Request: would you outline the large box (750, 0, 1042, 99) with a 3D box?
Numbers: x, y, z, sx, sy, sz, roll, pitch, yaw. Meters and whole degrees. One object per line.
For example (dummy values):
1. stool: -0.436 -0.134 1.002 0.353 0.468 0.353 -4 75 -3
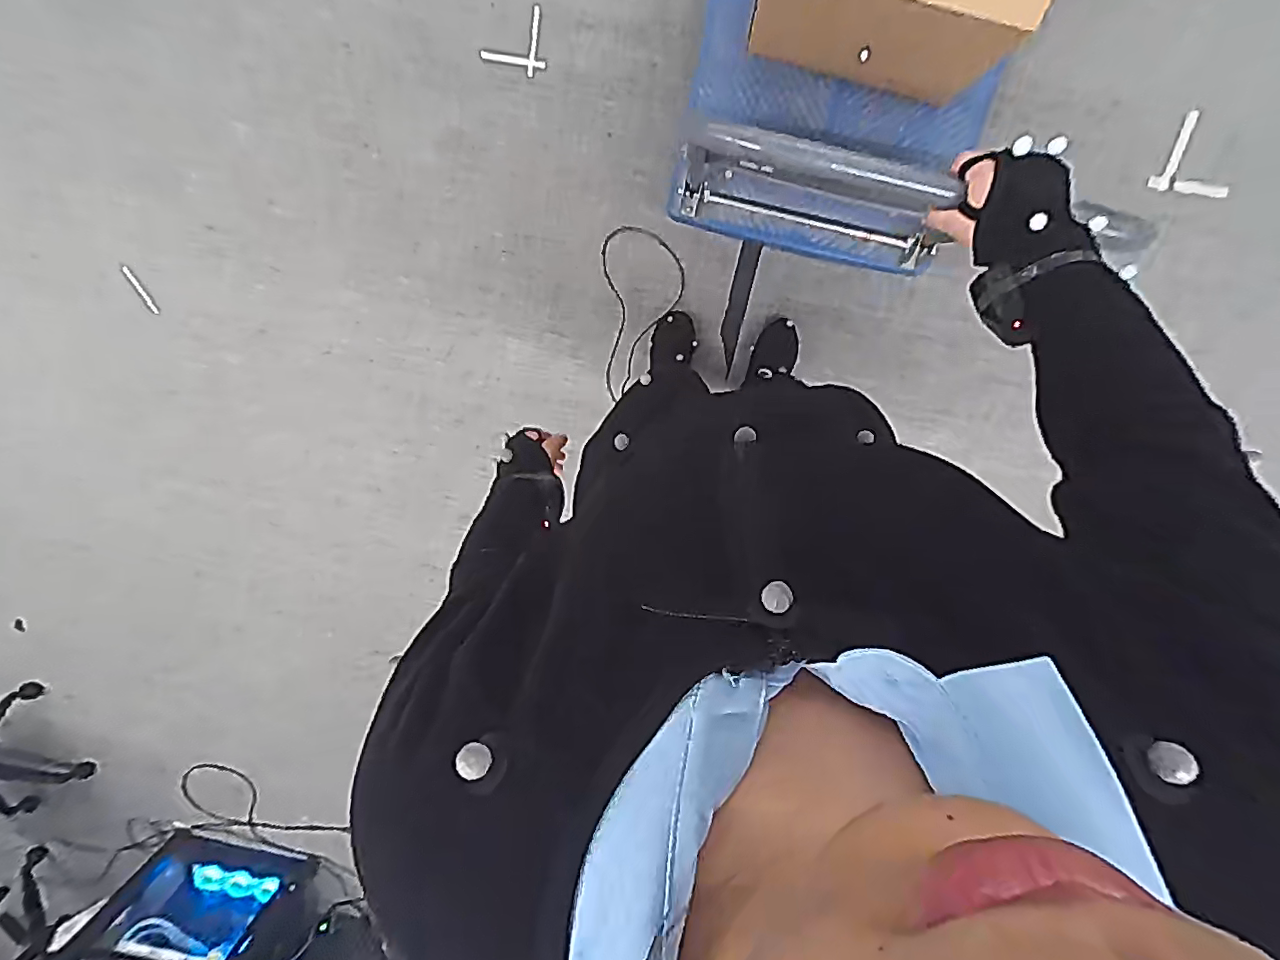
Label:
1. large box: 0.430 -0.891 0.885 0.408 0.320 0.320 15 107 1
